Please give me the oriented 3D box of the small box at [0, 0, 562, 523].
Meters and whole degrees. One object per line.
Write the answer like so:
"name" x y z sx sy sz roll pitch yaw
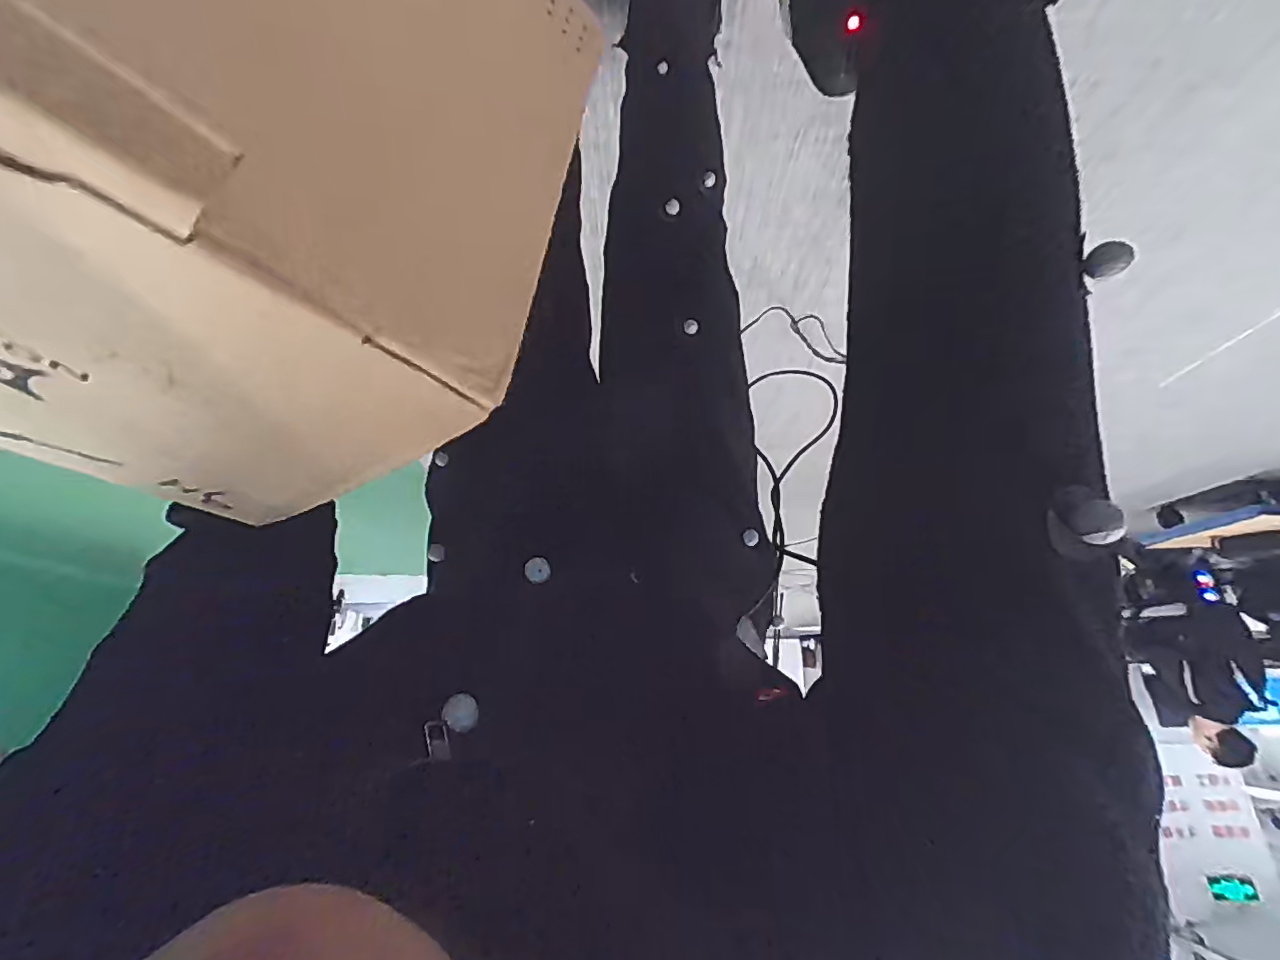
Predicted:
"small box" -0.139 -0.104 0.159 0.179 0.176 0.168 -16 147 38
